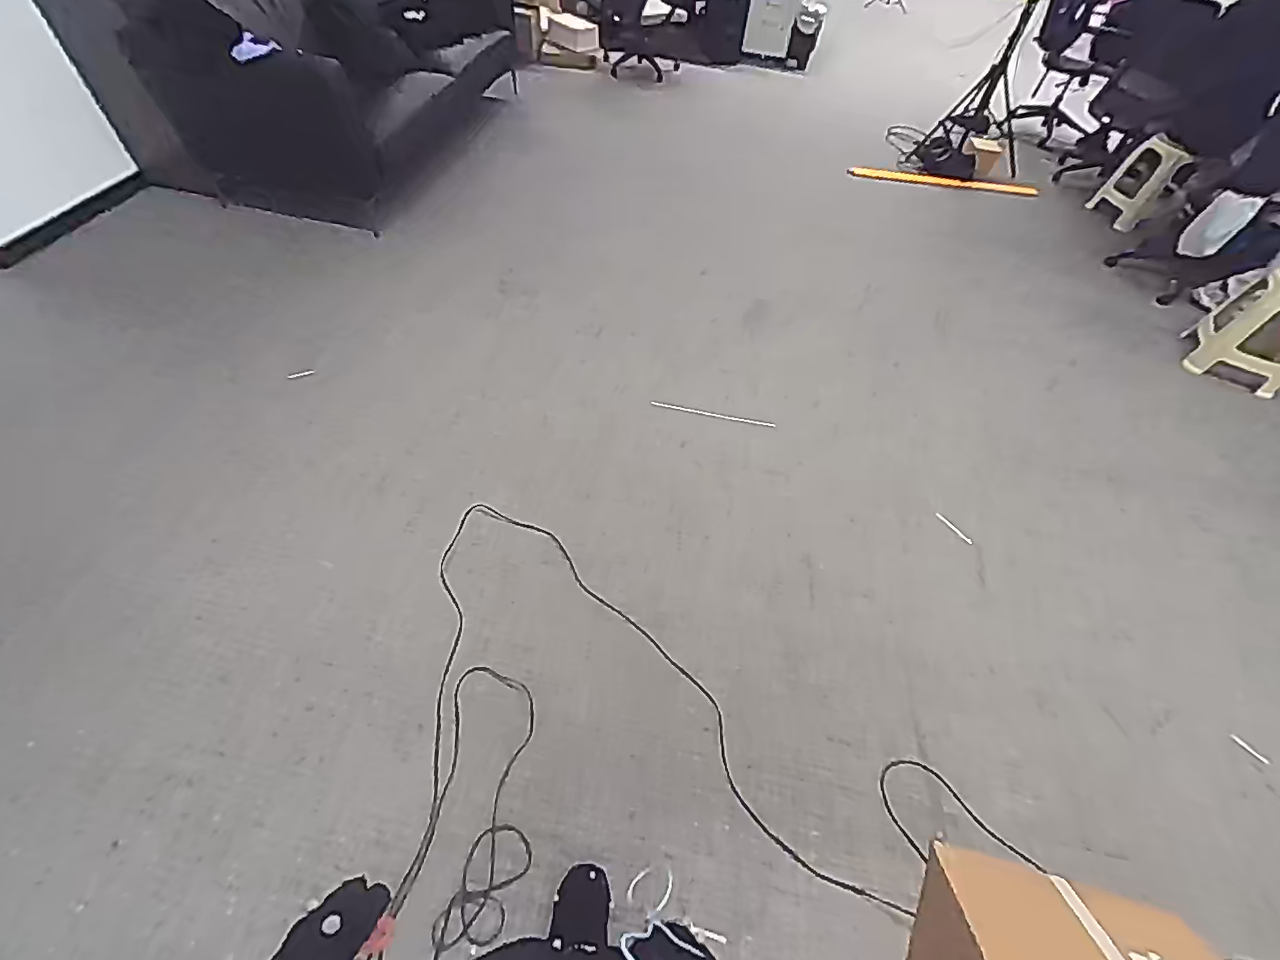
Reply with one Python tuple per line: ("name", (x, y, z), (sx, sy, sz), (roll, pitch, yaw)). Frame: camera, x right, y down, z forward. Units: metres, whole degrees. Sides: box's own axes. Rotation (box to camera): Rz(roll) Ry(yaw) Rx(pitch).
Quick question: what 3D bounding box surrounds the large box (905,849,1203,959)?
("large box", (0.492, 0.710, 0.566), (0.320, 0.408, 0.320), (13, 93, 12))
